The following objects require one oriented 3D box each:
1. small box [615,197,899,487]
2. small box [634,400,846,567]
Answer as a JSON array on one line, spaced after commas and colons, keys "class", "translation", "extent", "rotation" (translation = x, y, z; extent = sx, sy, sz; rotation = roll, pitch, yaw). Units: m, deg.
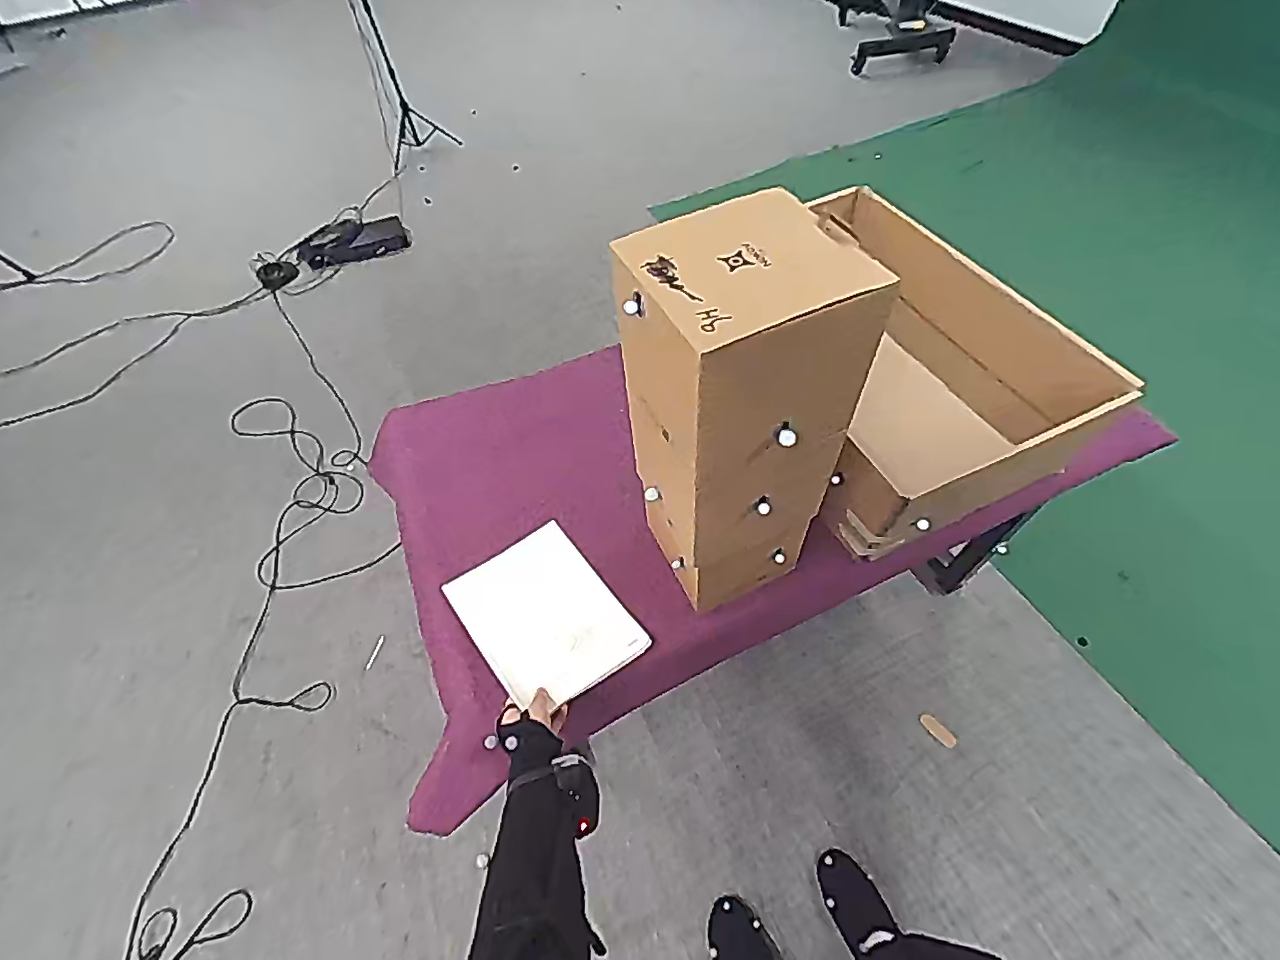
[{"class": "small box", "translation": [0.091, -0.124, 0.499], "extent": [0.179, 0.176, 0.168], "rotation": [-22, 54, -12]}, {"class": "small box", "translation": [0.104, -0.028, 0.633], "extent": [0.179, 0.176, 0.168], "rotation": [-22, 55, -10]}]
